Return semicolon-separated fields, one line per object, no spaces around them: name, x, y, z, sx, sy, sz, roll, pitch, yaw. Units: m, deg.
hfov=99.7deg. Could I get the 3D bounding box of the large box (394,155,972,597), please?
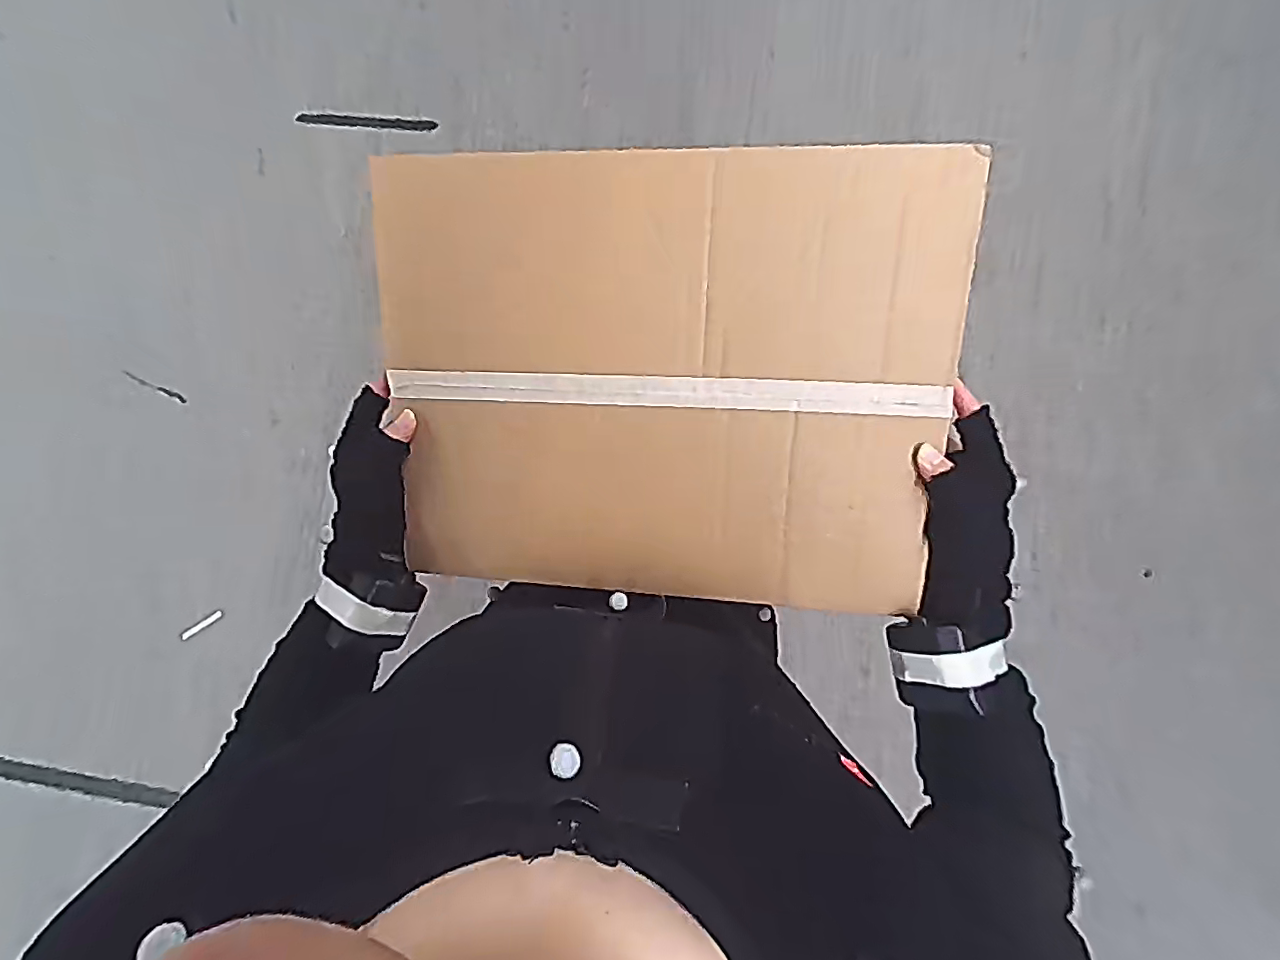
large box;0.032;-0.101;0.546;0.408;0.320;0.320;4;105;8
